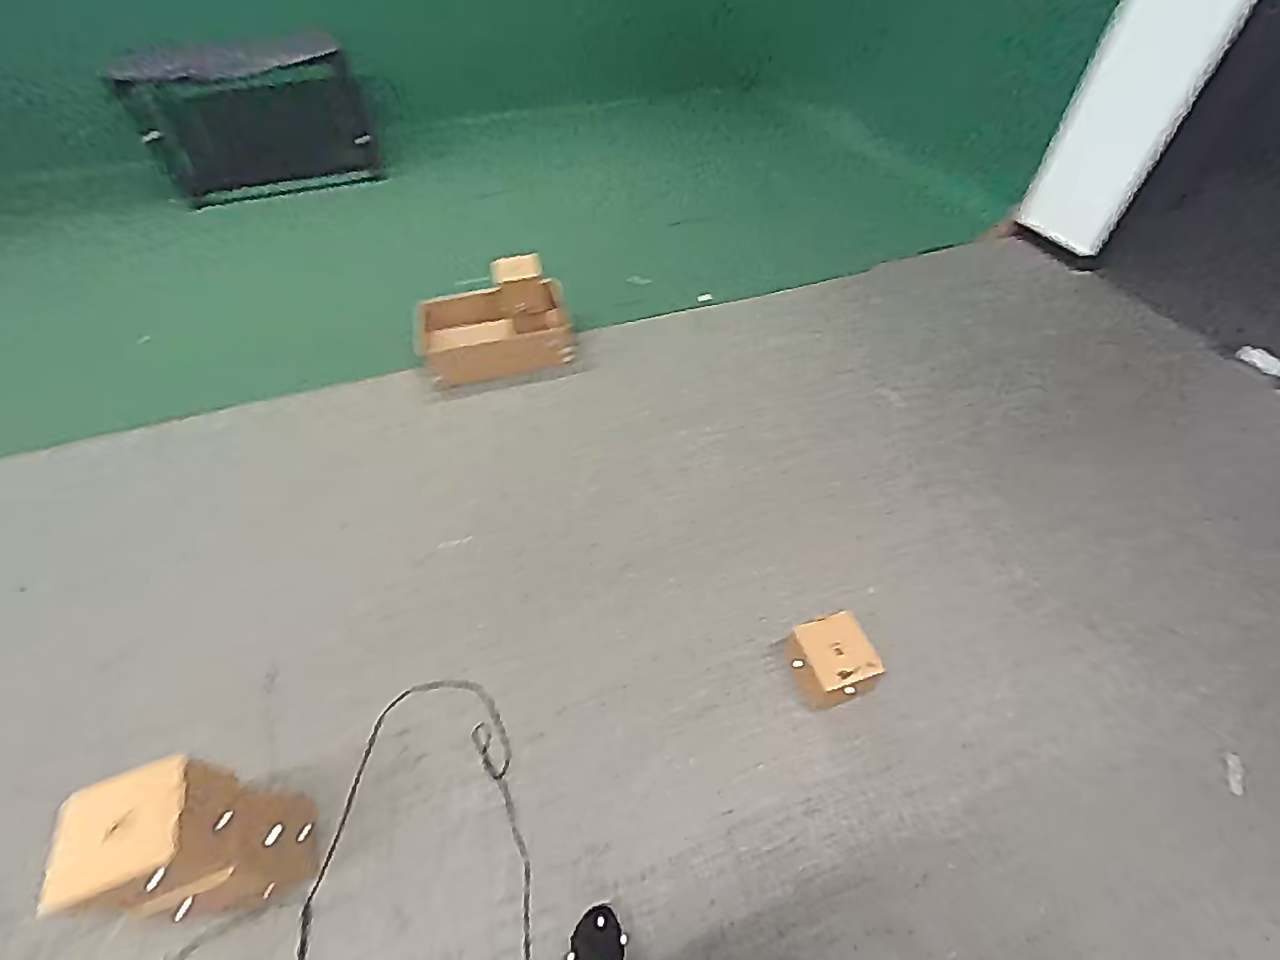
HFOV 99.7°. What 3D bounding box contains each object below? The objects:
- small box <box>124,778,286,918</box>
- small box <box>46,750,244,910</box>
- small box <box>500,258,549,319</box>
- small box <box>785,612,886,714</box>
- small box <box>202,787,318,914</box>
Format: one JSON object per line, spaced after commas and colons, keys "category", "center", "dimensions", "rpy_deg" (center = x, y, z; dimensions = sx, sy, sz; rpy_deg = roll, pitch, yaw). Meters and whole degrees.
{"category": "small box", "center": [-0.821, 0.711, 1.042], "dimensions": [0.179, 0.176, 0.168], "rpy_deg": [-17, 51, -13]}
{"category": "small box", "center": [-0.823, 0.600, 0.923], "dimensions": [0.179, 0.176, 0.168], "rpy_deg": [-18, 51, -14]}
{"category": "small box", "center": [-0.481, -0.795, 2.248], "dimensions": [0.168, 0.176, 0.179], "rpy_deg": [-12, 52, -7]}
{"category": "small box", "center": [0.497, 0.478, 1.407], "dimensions": [0.168, 0.176, 0.179], "rpy_deg": [-14, 50, -10]}
{"category": "small box", "center": [-0.826, 0.806, 1.176], "dimensions": [0.179, 0.176, 0.168], "rpy_deg": [-21, 51, -15]}
